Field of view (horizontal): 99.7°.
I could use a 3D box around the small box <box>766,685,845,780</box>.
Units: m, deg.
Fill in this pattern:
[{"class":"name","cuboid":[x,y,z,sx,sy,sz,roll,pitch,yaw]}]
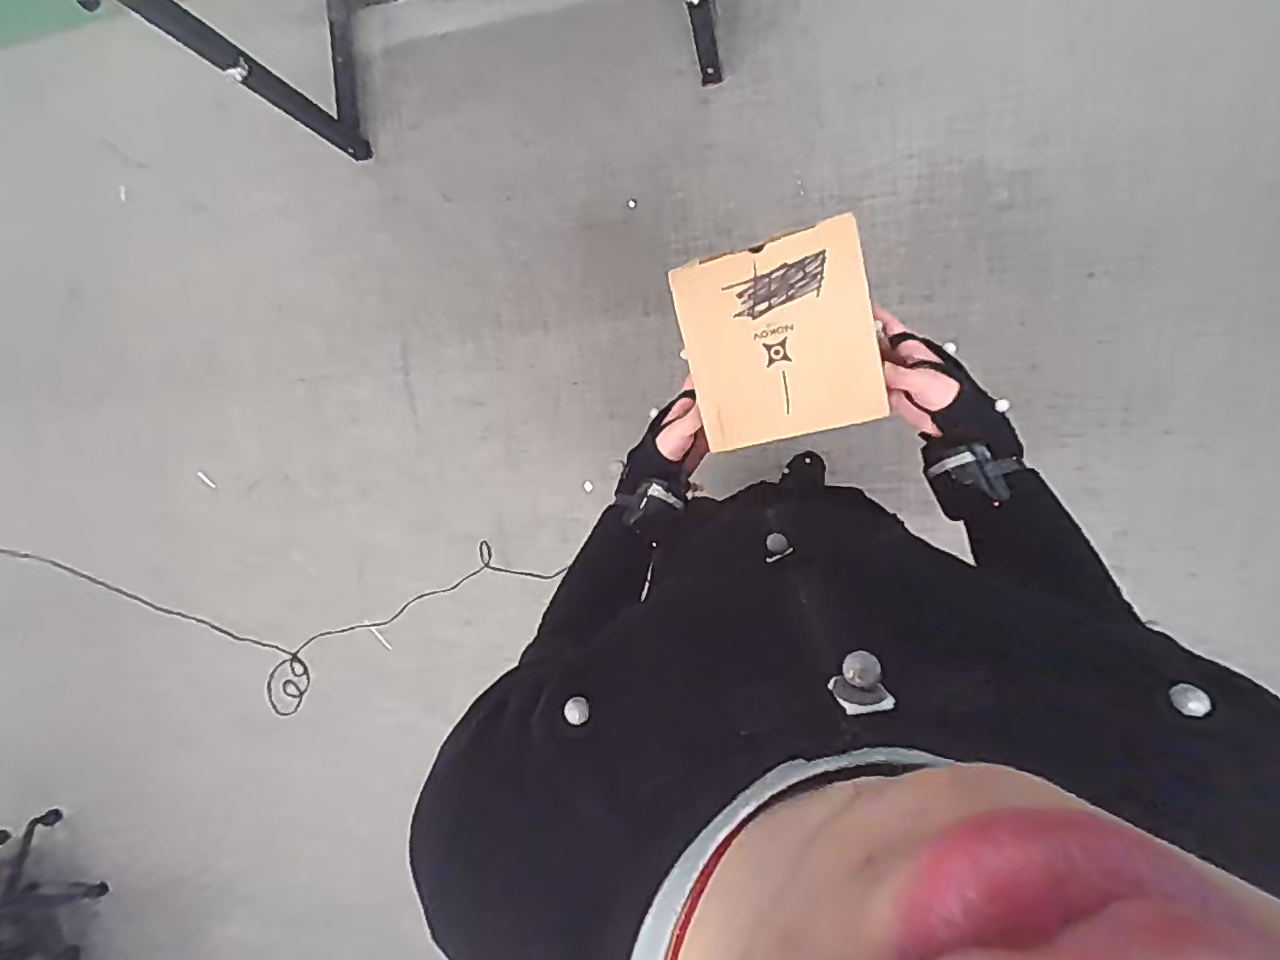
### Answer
[{"class":"small box","cuboid":[0.444,0.674,1.465,0.168,0.176,0.179,-16,91,17]}]
